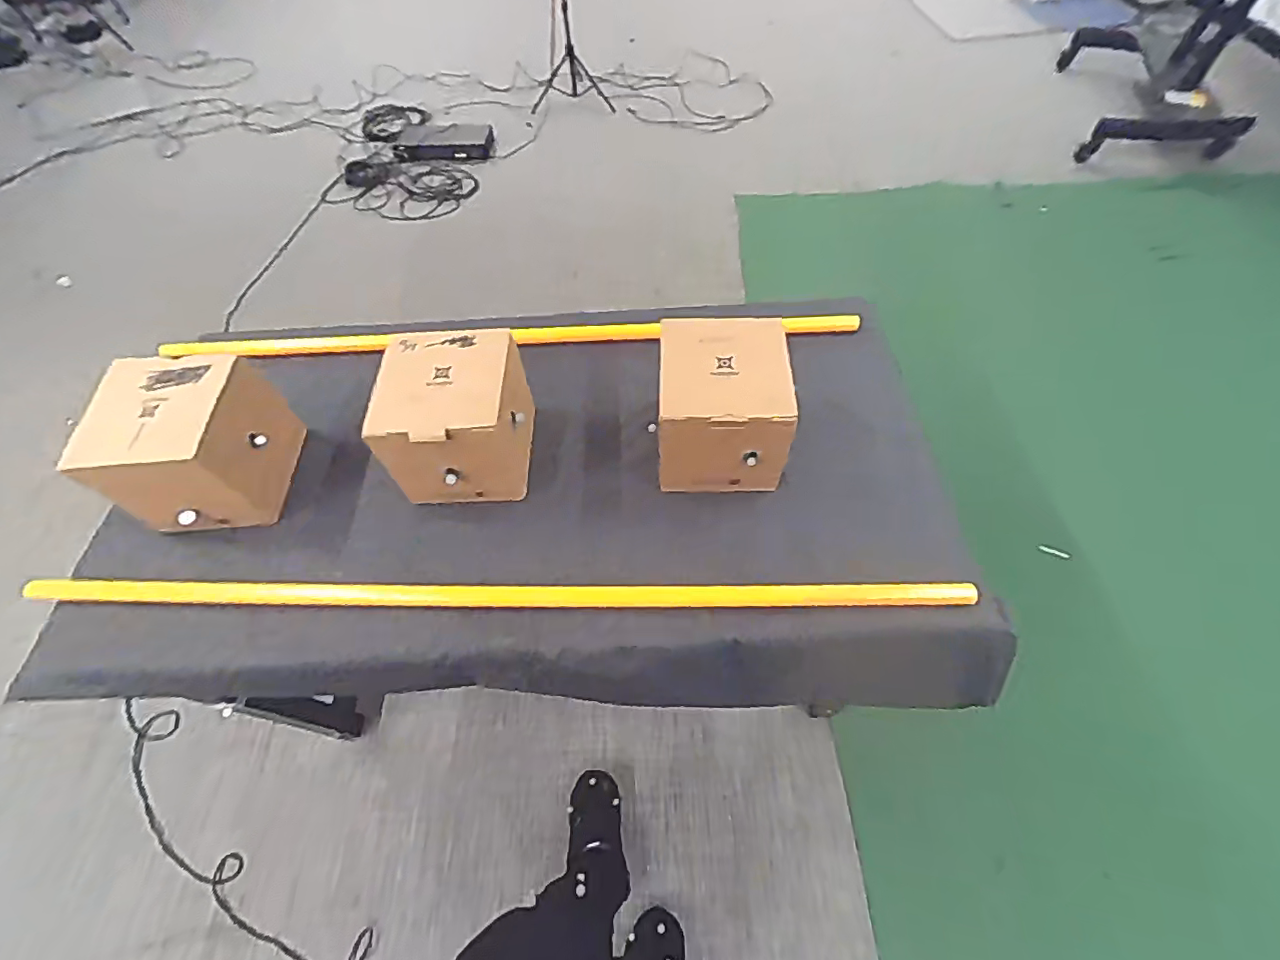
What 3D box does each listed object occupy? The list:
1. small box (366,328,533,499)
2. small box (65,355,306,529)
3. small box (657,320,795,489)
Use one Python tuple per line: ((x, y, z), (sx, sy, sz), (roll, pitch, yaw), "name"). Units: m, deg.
((-0.251, -0.085, 0.763), (0.168, 0.176, 0.179), (-6, 57, 1), "small box")
((-0.602, -0.049, 0.751), (0.168, 0.176, 0.179), (-4, 58, 0), "small box")
((0.108, -0.100, 0.755), (0.168, 0.176, 0.179), (0, 56, 2), "small box")
